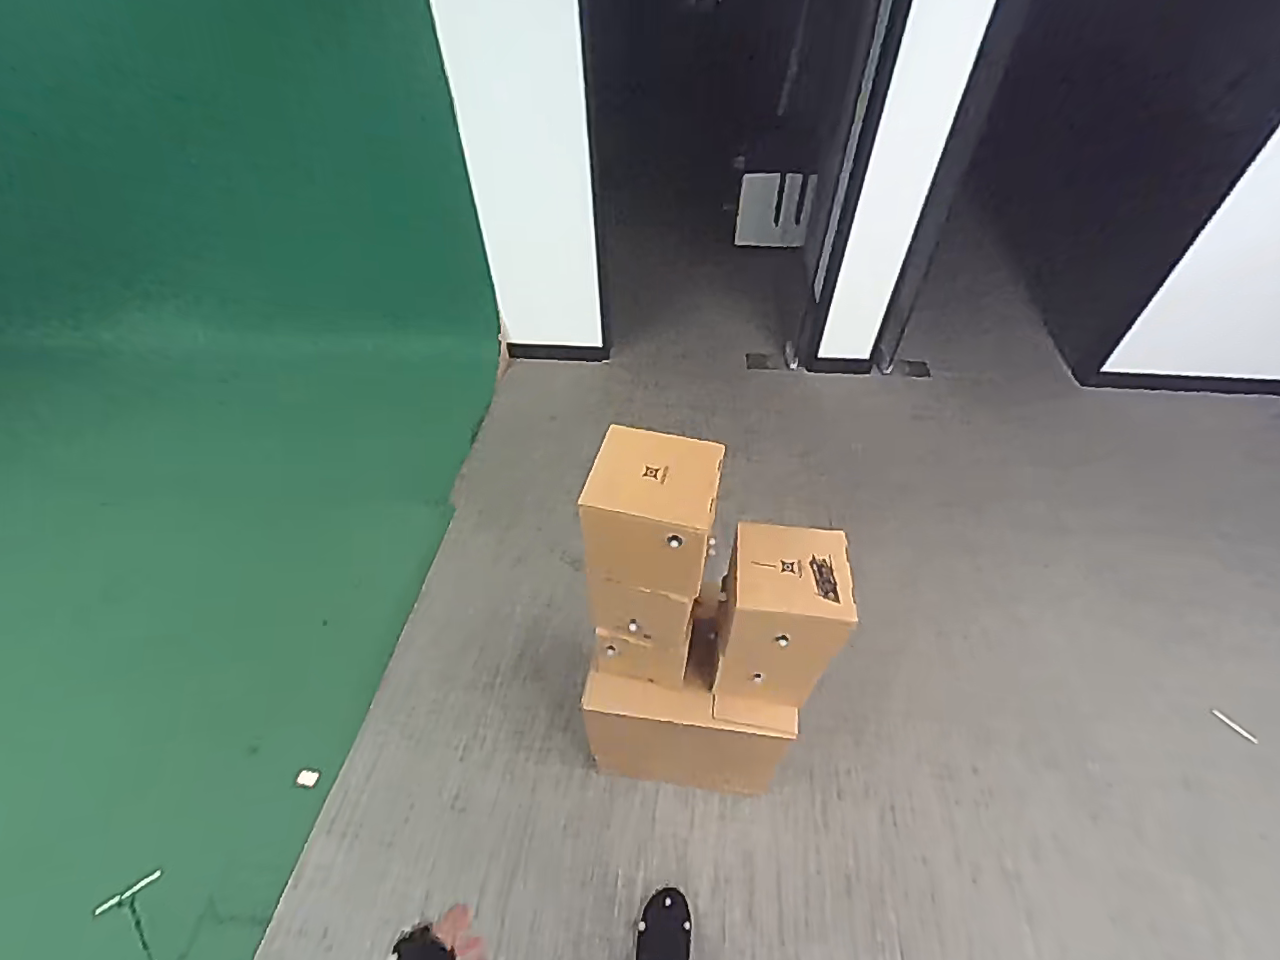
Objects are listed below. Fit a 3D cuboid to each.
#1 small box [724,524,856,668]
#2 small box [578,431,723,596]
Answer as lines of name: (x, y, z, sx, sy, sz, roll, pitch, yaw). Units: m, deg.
small box: (0.238, 0.194, 0.893, 0.179, 0.176, 0.168, 4, 48, 7)
small box: (0.019, 0.052, 0.809, 0.179, 0.176, 0.168, 10, 48, 9)
